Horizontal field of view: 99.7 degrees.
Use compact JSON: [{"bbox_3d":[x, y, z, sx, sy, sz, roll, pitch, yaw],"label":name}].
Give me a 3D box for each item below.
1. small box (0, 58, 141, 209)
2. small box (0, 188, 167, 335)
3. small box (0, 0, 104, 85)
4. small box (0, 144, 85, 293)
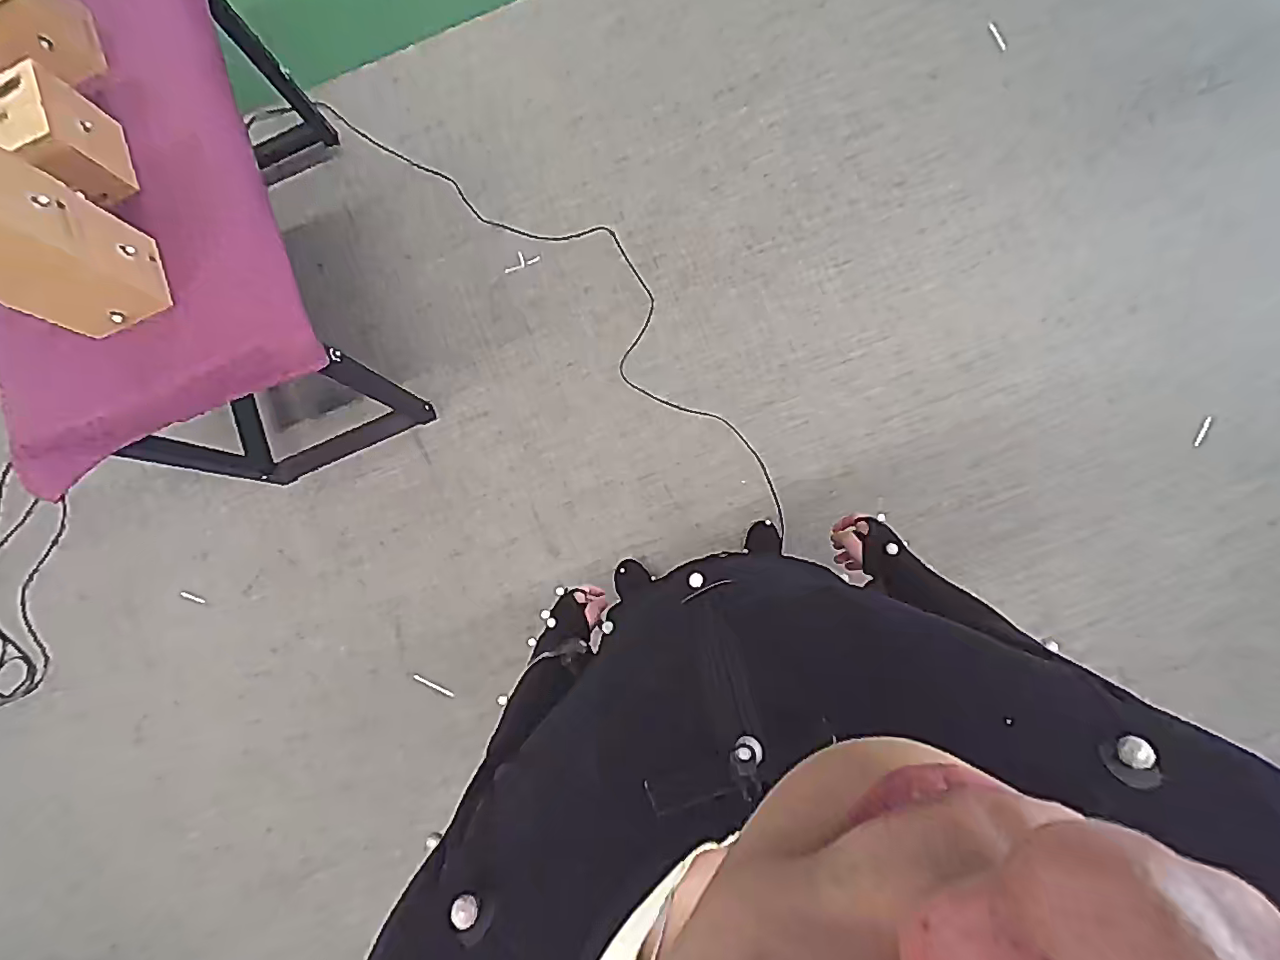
[{"bbox_3d":[-1.168,-0.675,1.083,0.168,0.176,0.179,-23,81,2],"label":"small box"},{"bbox_3d":[-1.061,-0.408,1.035,0.179,0.176,0.168,-23,80,1],"label":"small box"},{"bbox_3d":[-1.289,-0.966,1.137,0.179,0.176,0.168,-22,80,3],"label":"small box"},{"bbox_3d":[-1.075,-0.434,0.873,0.179,0.176,0.168,-23,81,1],"label":"small box"}]
